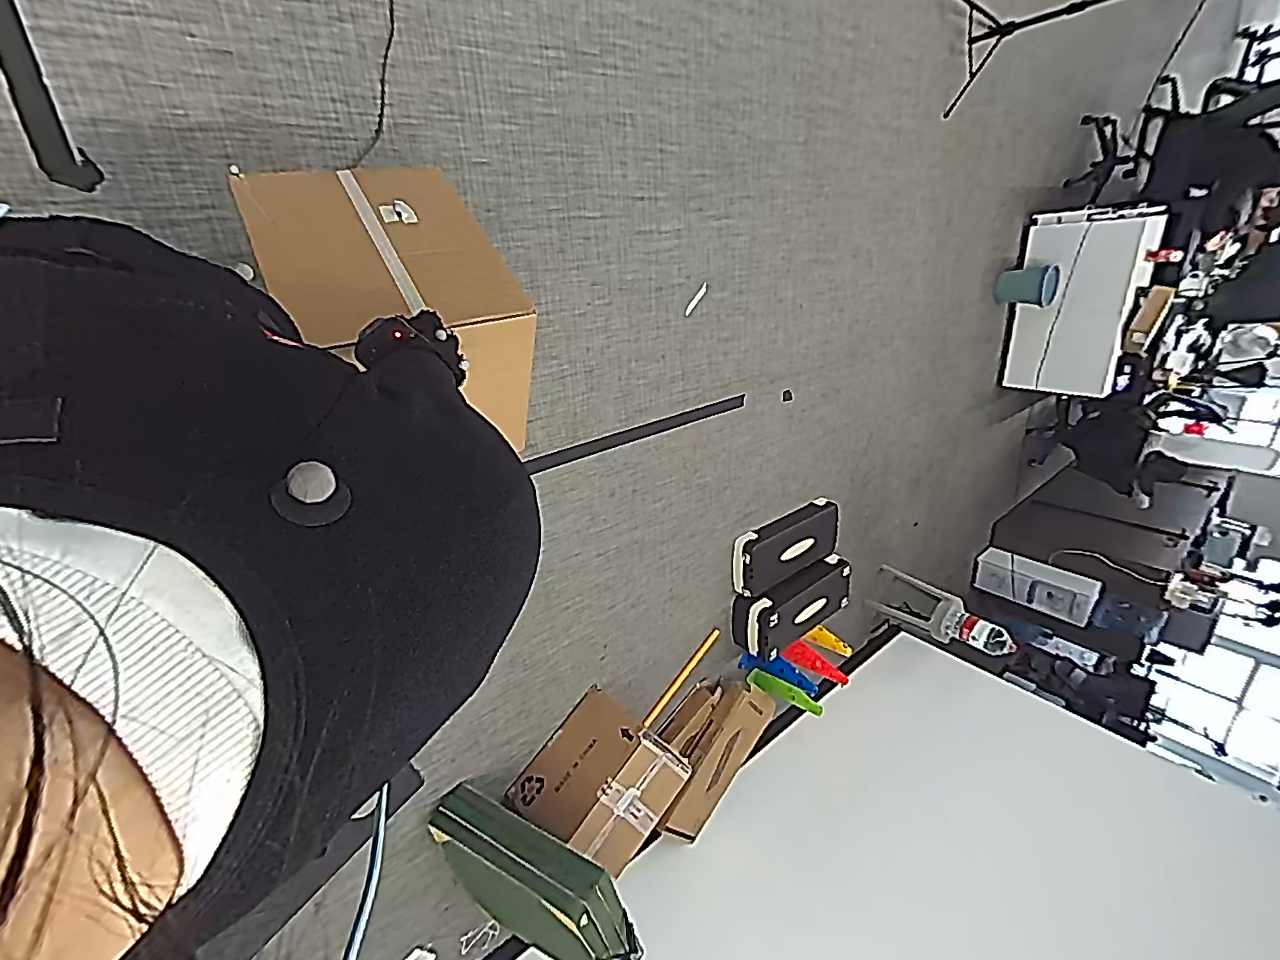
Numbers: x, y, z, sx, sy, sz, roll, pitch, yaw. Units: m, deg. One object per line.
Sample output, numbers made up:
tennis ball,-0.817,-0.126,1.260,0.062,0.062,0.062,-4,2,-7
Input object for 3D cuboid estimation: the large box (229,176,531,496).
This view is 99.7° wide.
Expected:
large box,-0.416,-0.249,0.911,0.320,0.408,0.320,-20,151,-29
